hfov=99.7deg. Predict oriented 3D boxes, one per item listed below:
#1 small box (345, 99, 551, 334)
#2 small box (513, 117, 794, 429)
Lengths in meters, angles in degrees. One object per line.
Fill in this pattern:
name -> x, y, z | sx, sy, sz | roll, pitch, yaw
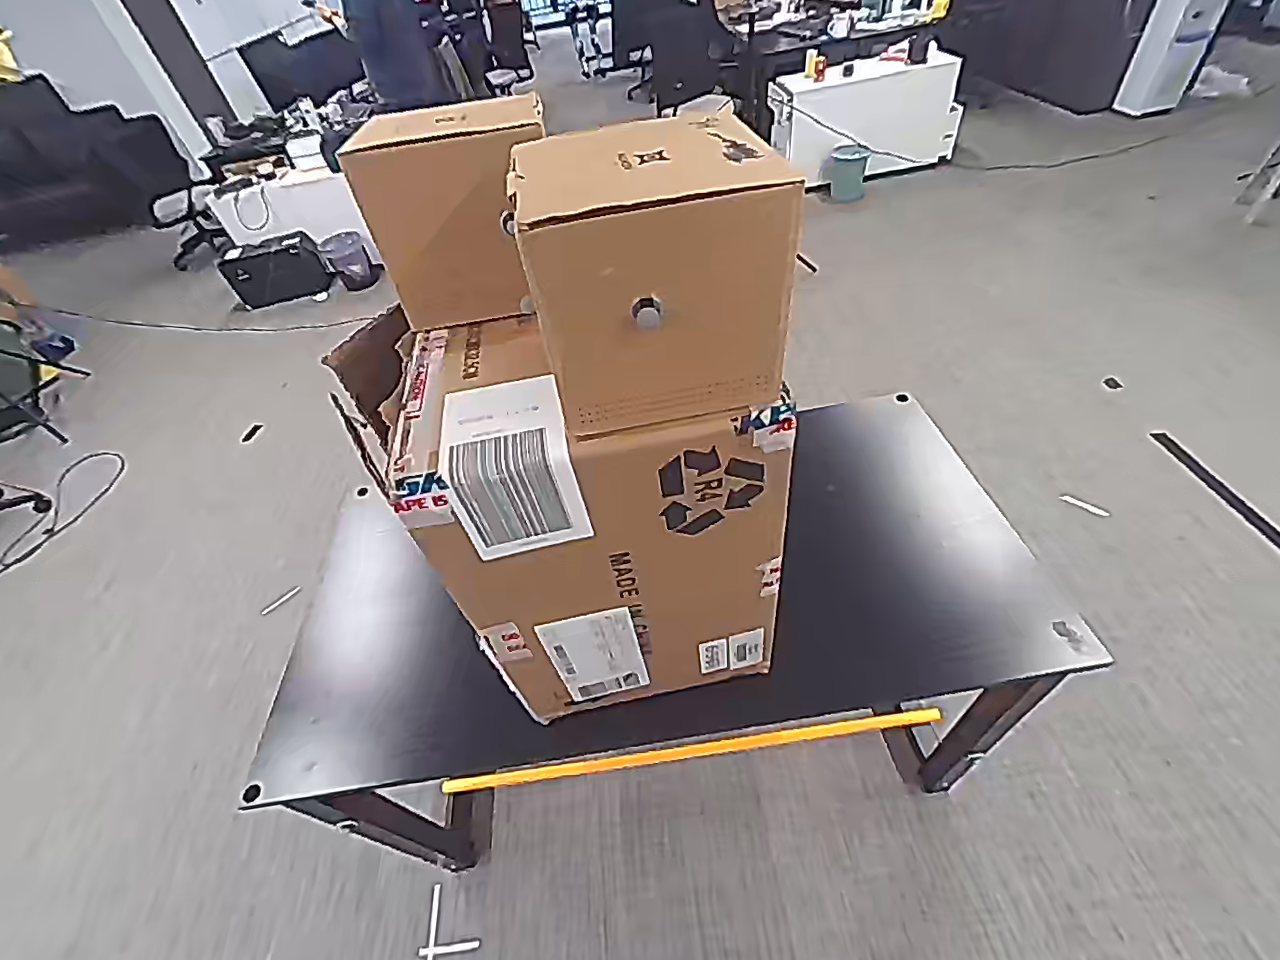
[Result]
small box -> -0.170, -0.278, 0.574 | 0.179, 0.176, 0.168 | -11, 43, -2
small box -> 0.008, -0.161, 0.435 | 0.179, 0.176, 0.168 | -12, 48, -2
